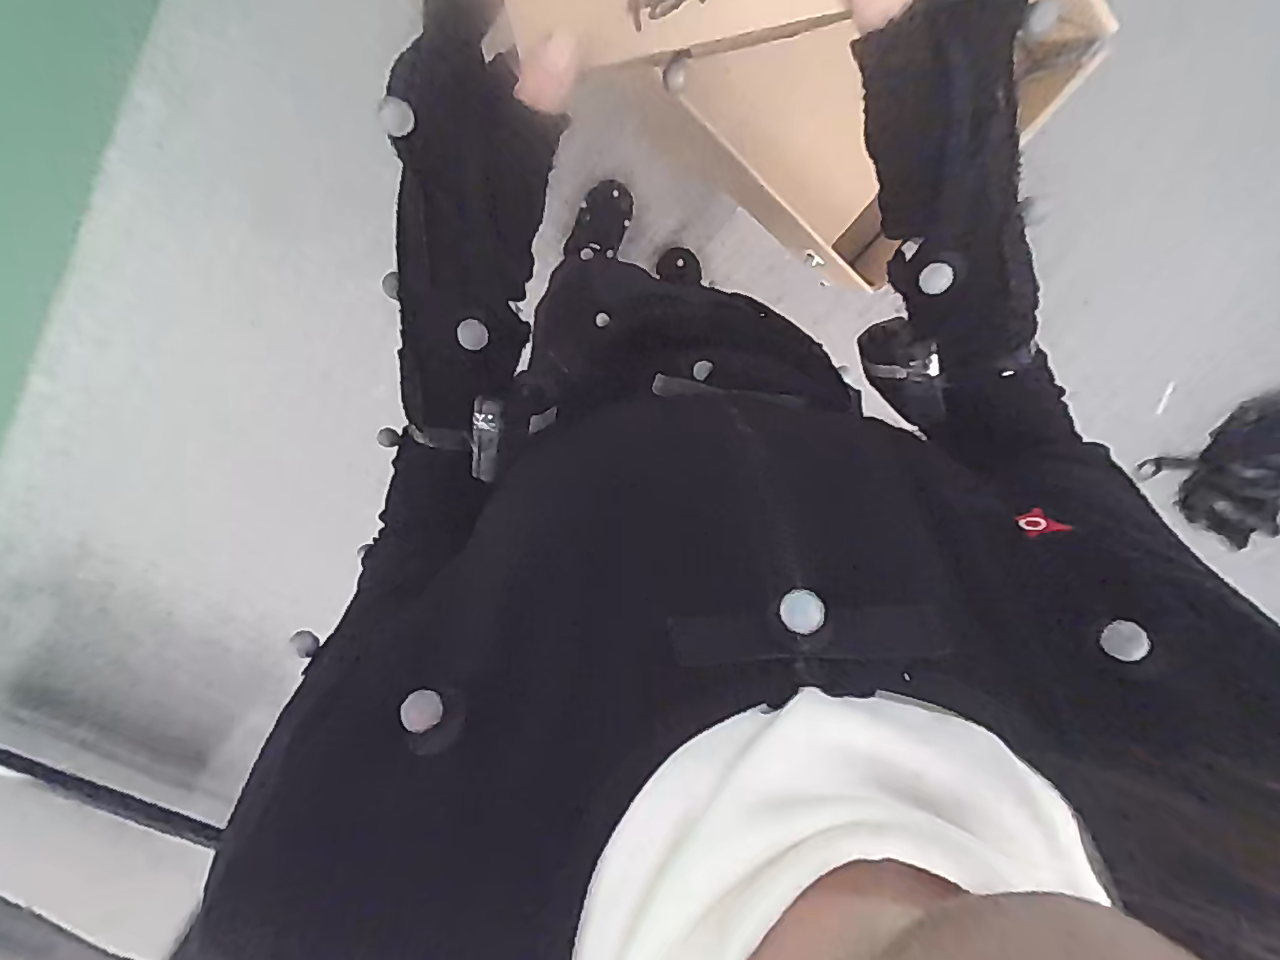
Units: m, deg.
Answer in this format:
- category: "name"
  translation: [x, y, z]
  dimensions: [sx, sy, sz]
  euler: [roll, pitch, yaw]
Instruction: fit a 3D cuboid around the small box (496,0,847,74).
- category: "small box"
  translation: [0.007, -0.299, 0.232]
  dimensions: [0.168, 0.176, 0.179]
  euler: [-10, 126, 4]
